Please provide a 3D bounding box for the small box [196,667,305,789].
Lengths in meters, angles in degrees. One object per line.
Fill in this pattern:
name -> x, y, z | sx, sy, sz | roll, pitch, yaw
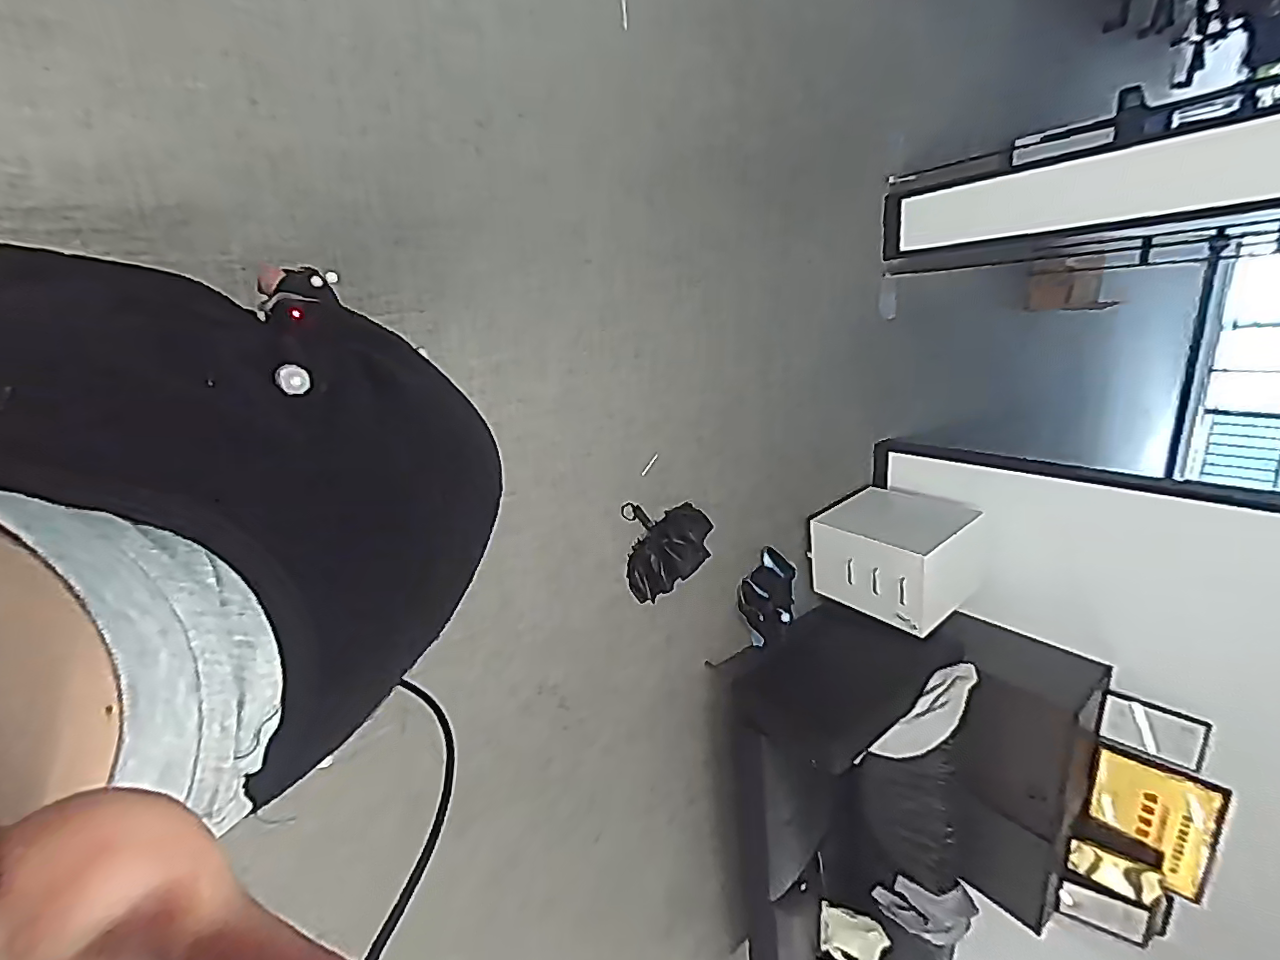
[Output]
small box -> -0.955, 0.602, 1.334 | 0.168, 0.176, 0.179 | -25, 115, -31
